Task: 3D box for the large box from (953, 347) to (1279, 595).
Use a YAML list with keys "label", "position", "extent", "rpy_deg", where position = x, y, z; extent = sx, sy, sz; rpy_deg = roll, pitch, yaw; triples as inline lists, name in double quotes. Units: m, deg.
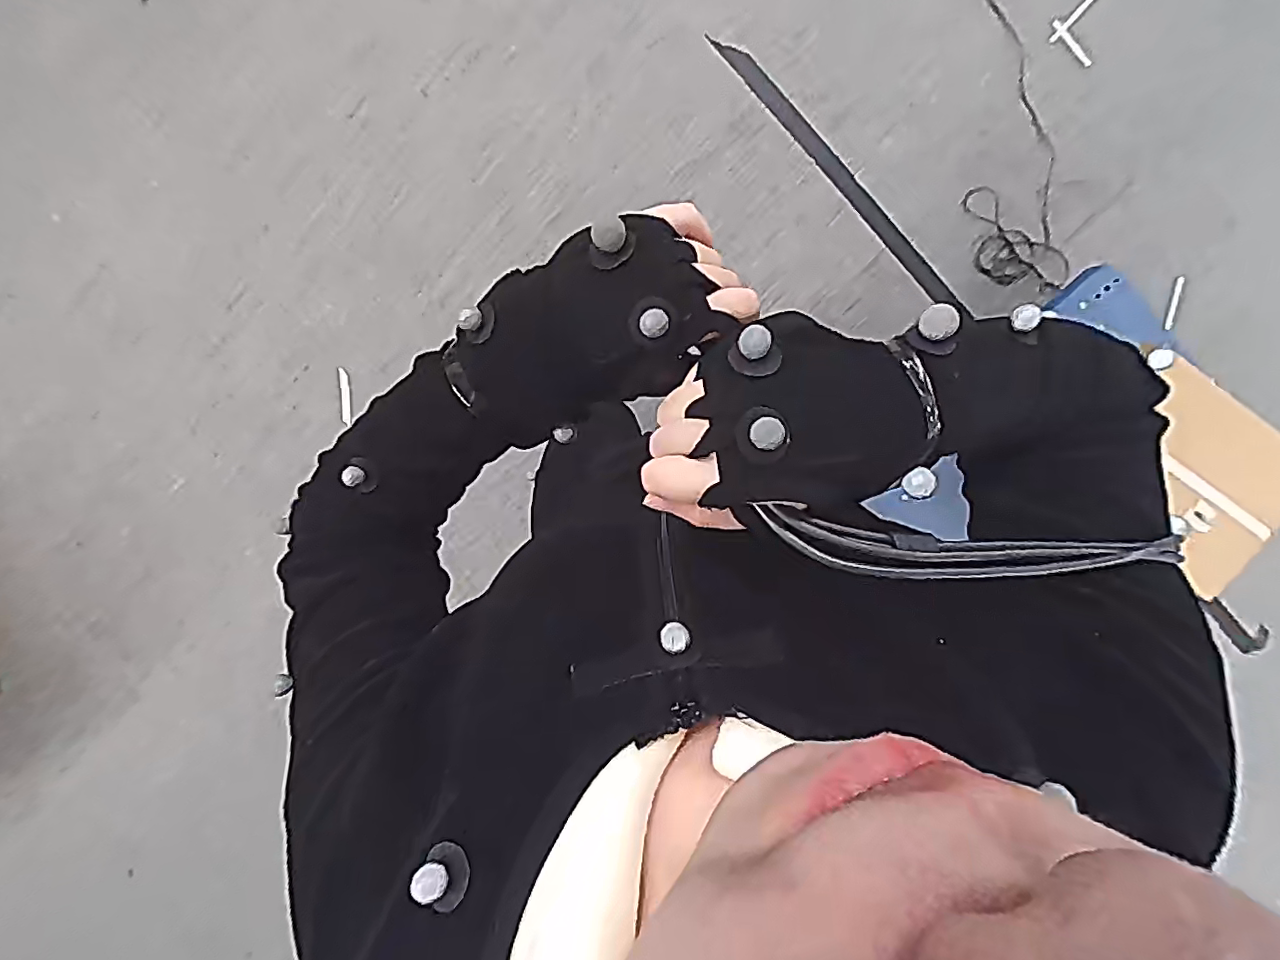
- label: "large box"
  position: [0.989, -0.032, 1.146]
  extent: [0.408, 0.320, 0.320]
  rpy_deg: [34, 98, -6]
